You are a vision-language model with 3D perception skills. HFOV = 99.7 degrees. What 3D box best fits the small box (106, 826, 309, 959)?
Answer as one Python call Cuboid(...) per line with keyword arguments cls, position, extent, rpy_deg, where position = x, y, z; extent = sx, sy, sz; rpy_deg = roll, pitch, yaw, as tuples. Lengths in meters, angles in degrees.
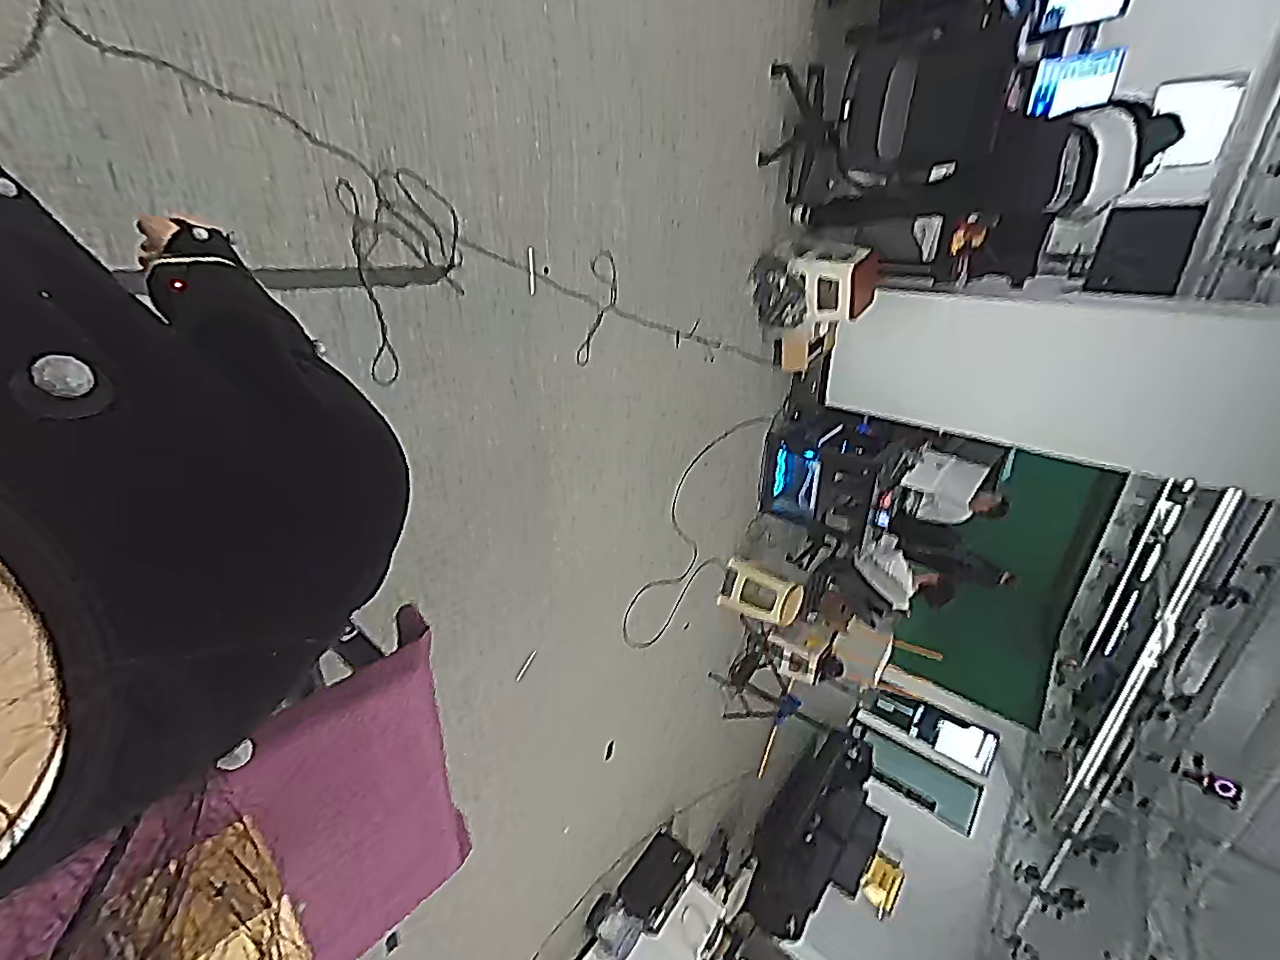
Cuboid(cls="small box", position=(-0.600, 0.633, 0.757), extent=(0.168, 0.176, 0.179), rpy_deg=(-24, 126, -45))
